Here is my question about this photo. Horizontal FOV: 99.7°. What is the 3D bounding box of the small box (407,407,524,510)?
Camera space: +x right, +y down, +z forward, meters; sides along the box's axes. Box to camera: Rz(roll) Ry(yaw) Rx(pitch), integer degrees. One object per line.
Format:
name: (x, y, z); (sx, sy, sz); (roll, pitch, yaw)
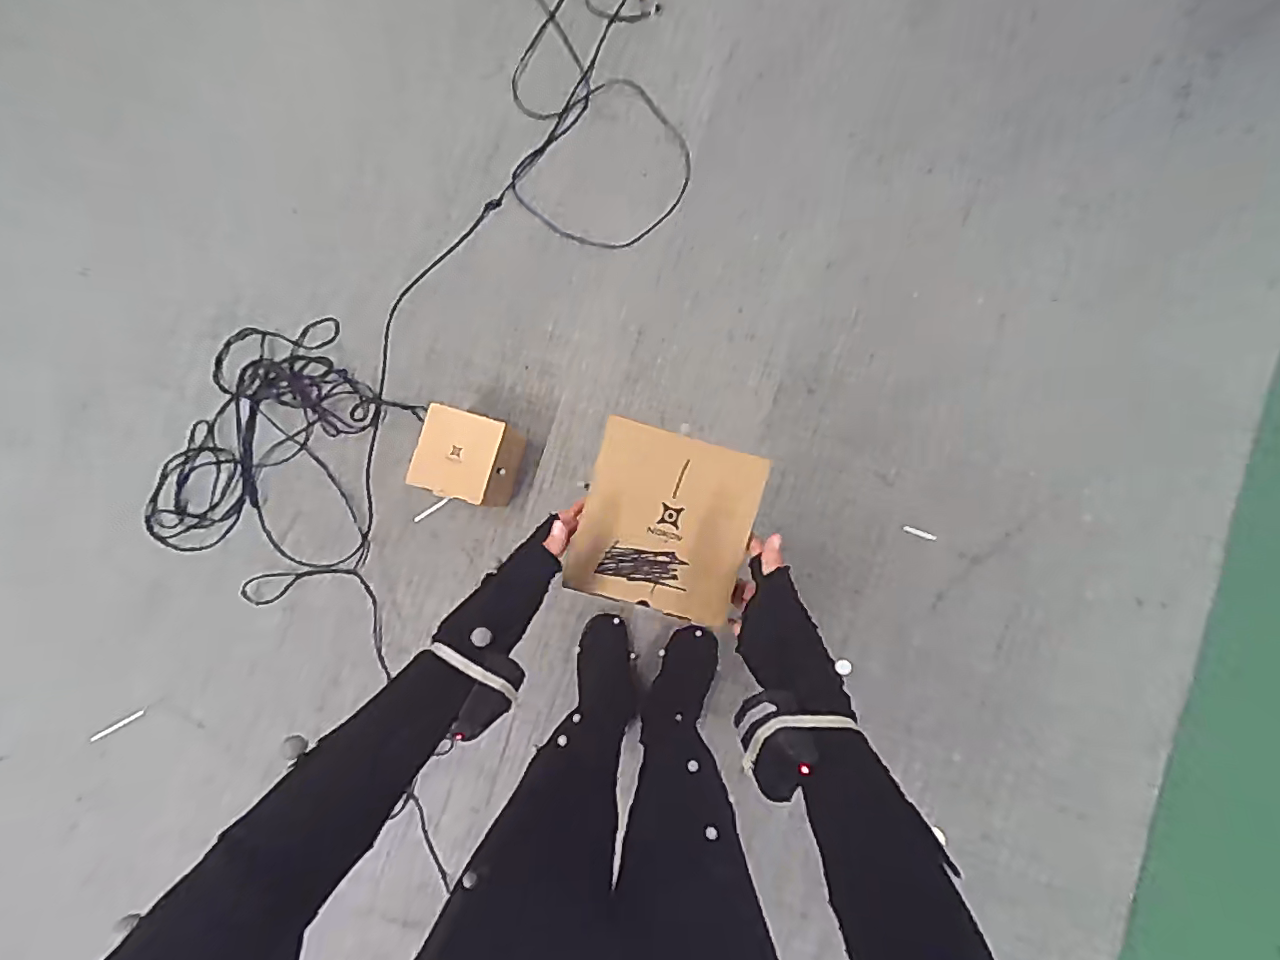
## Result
small box: (-0.366, -0.040, 1.172); (0.168, 0.176, 0.179); (16, 87, 5)

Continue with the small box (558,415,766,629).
small box: (0.018, 0.037, 0.600); (0.168, 0.176, 0.179); (16, 93, -5)
